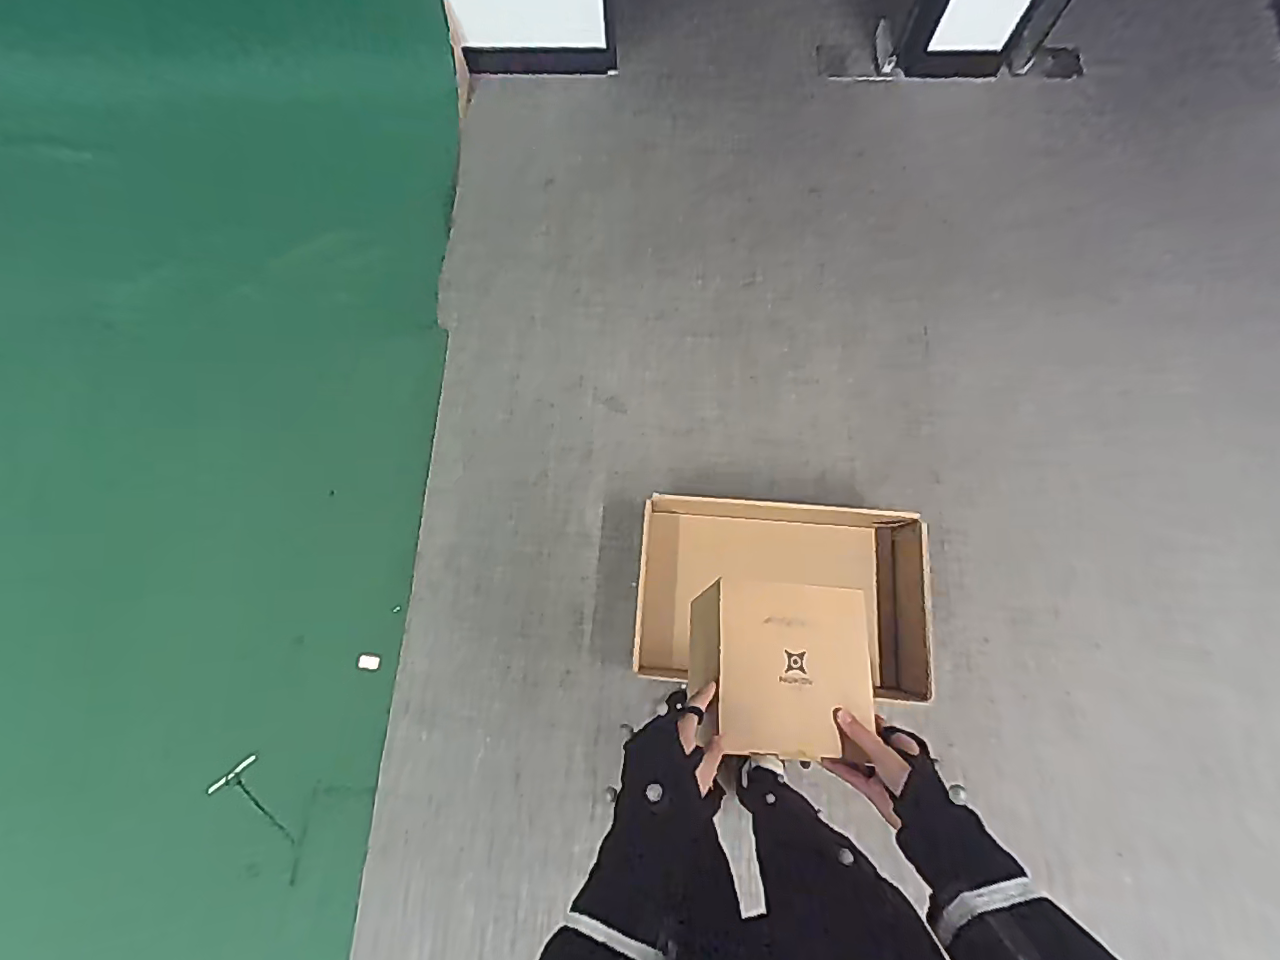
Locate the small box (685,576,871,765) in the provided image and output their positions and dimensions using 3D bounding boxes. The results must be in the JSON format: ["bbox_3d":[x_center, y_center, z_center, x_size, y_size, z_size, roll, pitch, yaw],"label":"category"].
[{"bbox_3d":[0.149,0.221,0.635,0.168,0.176,0.179,6,68,-3],"label":"small box"}]
